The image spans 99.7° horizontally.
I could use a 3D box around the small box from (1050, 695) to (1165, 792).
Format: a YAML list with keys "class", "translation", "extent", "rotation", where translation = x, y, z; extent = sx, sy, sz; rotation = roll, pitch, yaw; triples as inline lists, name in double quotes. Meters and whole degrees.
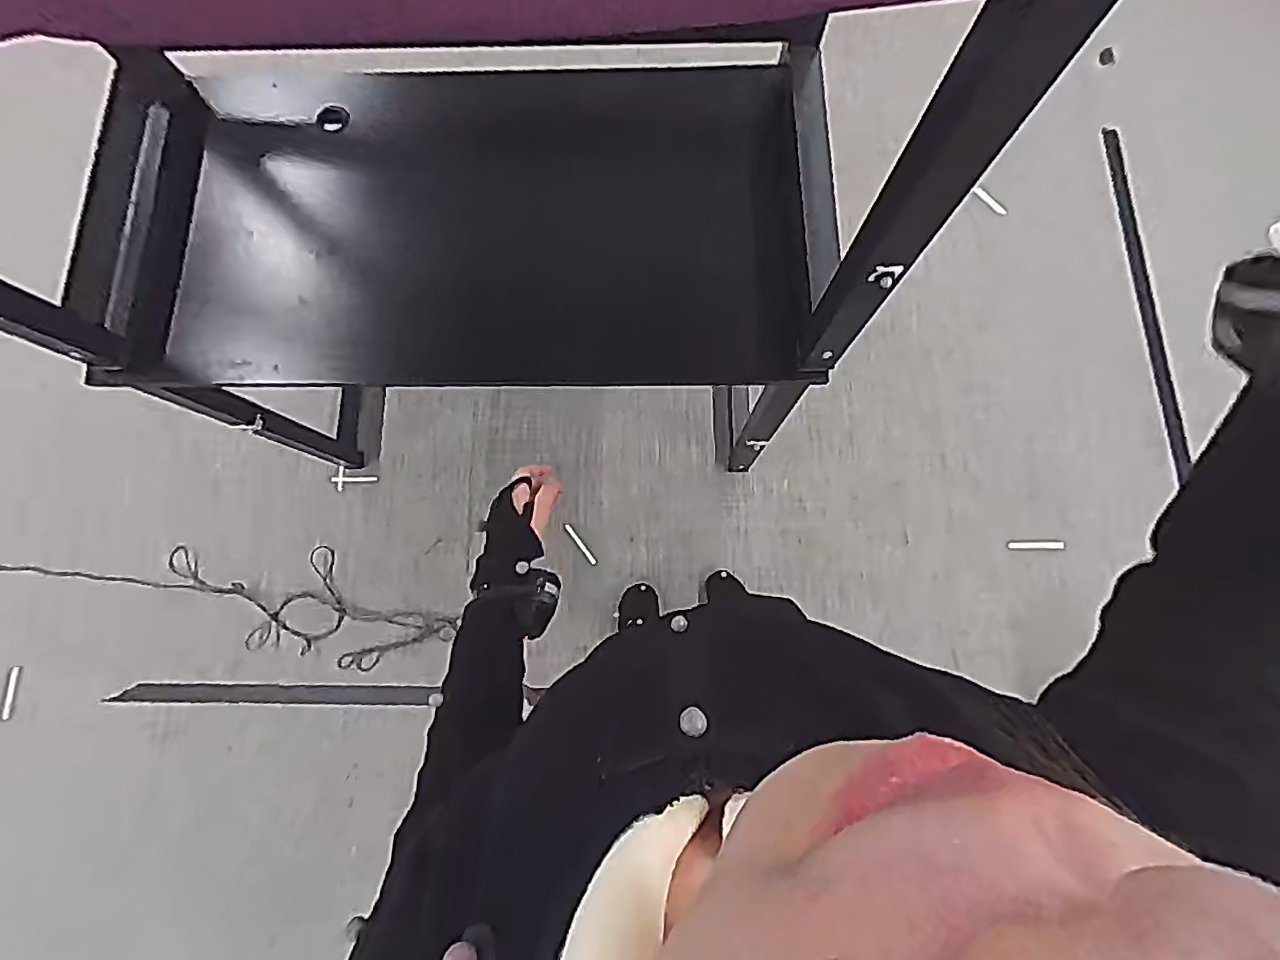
- class: "small box"
  translation: [1.139, 0.640, 1.315]
  extent: [0.168, 0.176, 0.179]
  rotation: [5, 80, 2]
